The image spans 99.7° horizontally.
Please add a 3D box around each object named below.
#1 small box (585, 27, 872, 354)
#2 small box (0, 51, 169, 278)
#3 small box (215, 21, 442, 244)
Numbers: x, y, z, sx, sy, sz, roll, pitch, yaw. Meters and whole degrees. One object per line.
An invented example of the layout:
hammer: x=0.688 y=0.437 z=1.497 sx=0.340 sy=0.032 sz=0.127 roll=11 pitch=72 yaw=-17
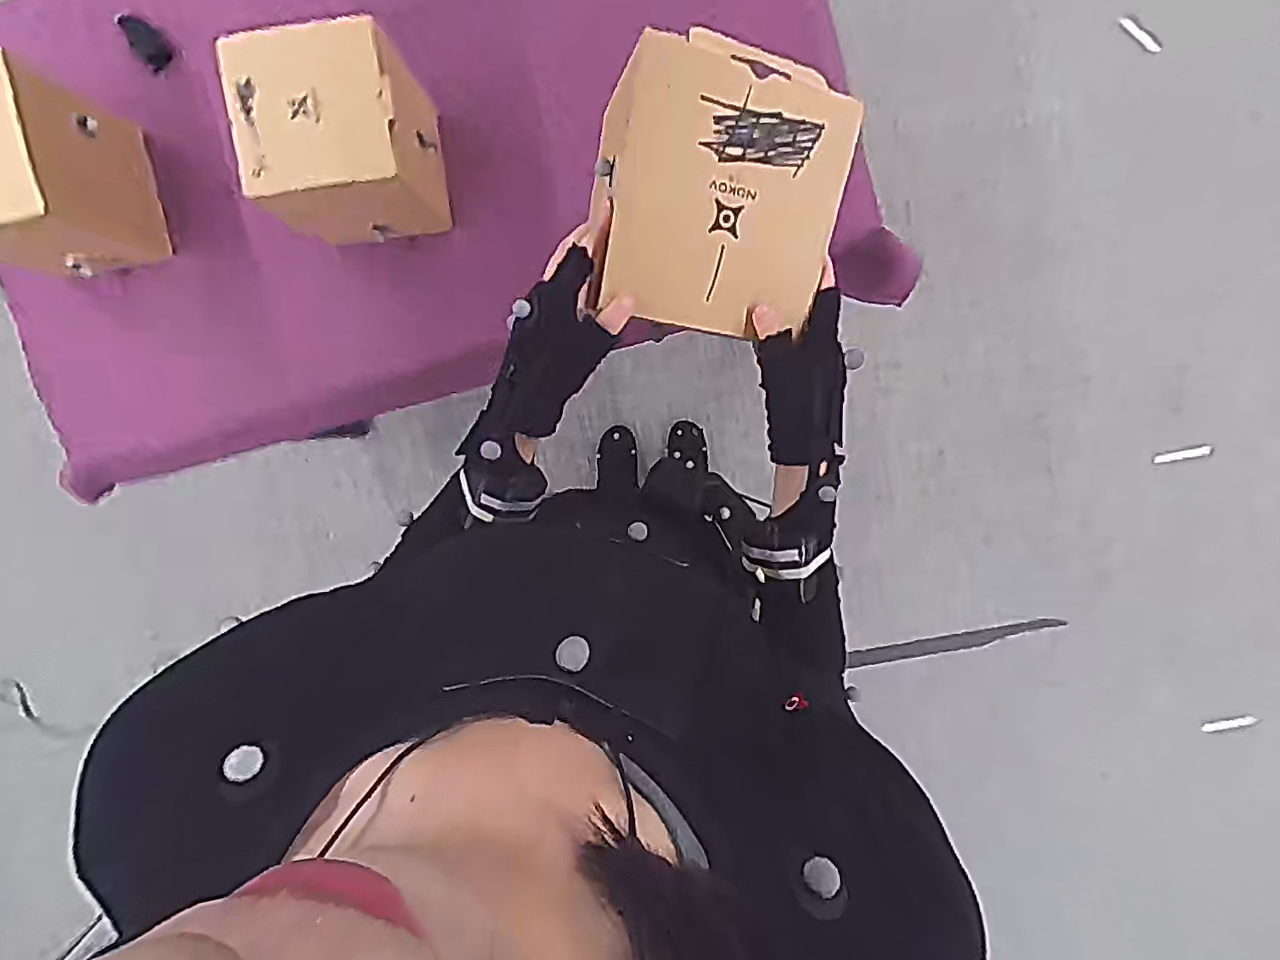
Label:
small box: x=0.053 y=-0.215 z=0.453 sx=0.168 sy=0.176 sz=0.179 roll=8 pitch=106 yaw=-14
small box: x=-0.747 y=-0.371 z=0.668 sx=0.168 sy=0.176 sz=0.179 roll=-11 pitch=96 yaw=3
small box: x=-0.357 y=-0.405 z=0.660 sx=0.179 sy=0.176 sz=0.168 roll=-7 pitch=95 yaw=1
